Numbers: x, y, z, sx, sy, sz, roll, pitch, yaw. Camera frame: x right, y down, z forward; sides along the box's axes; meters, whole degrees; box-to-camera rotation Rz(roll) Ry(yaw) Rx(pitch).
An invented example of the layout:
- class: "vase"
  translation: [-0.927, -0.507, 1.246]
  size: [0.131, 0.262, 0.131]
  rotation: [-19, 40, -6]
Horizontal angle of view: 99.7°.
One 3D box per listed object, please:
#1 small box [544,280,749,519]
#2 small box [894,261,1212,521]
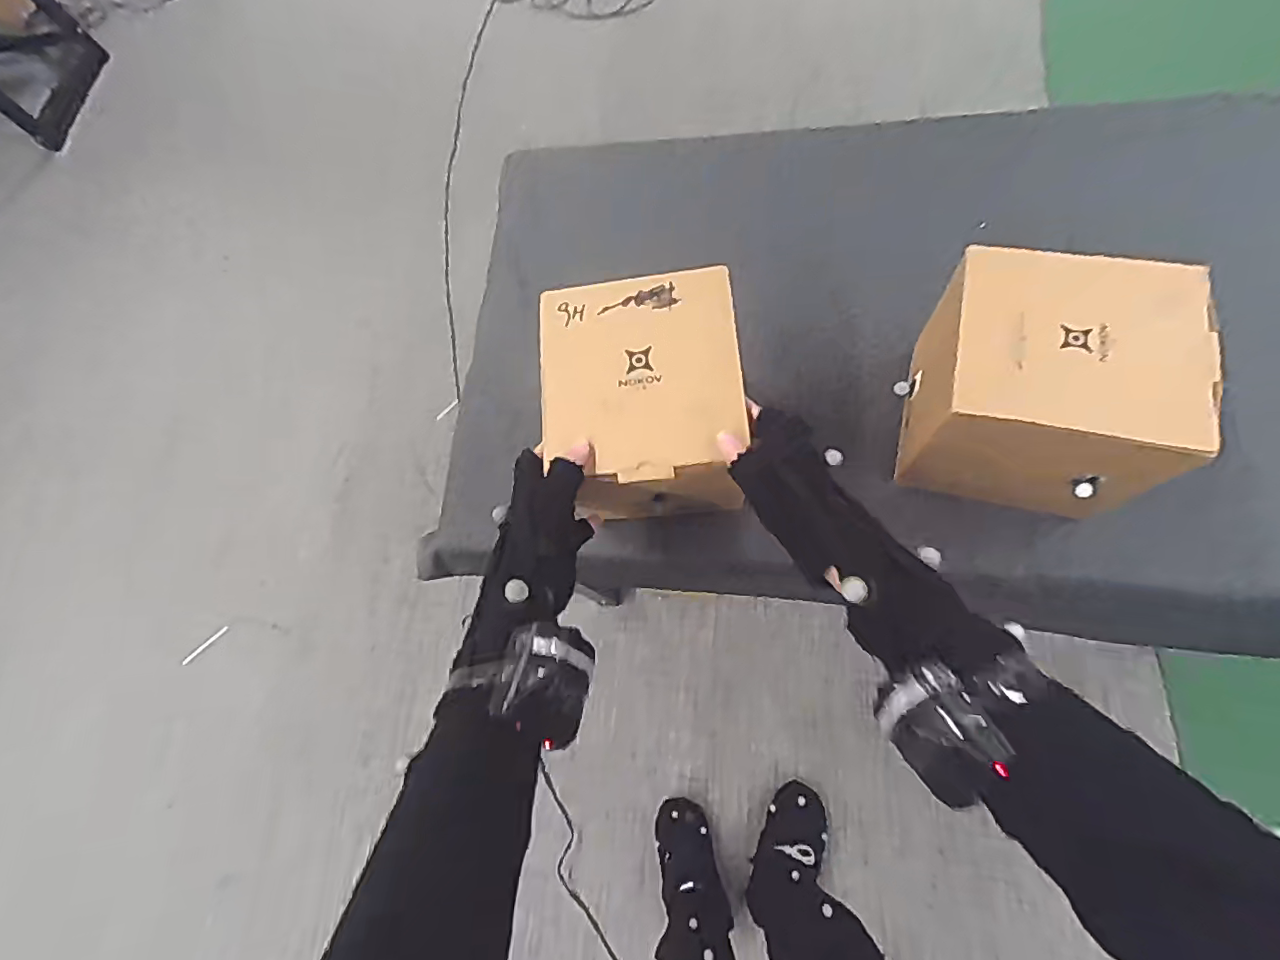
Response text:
- class: "small box"
  translation: [0.013, -0.059, 0.517]
  size: [0.168, 0.176, 0.179]
  rotation: [-5, 77, 7]
- class: "small box"
  translation: [0.358, -0.071, 0.500]
  size: [0.179, 0.176, 0.168]
  rotation: [12, 72, 14]
